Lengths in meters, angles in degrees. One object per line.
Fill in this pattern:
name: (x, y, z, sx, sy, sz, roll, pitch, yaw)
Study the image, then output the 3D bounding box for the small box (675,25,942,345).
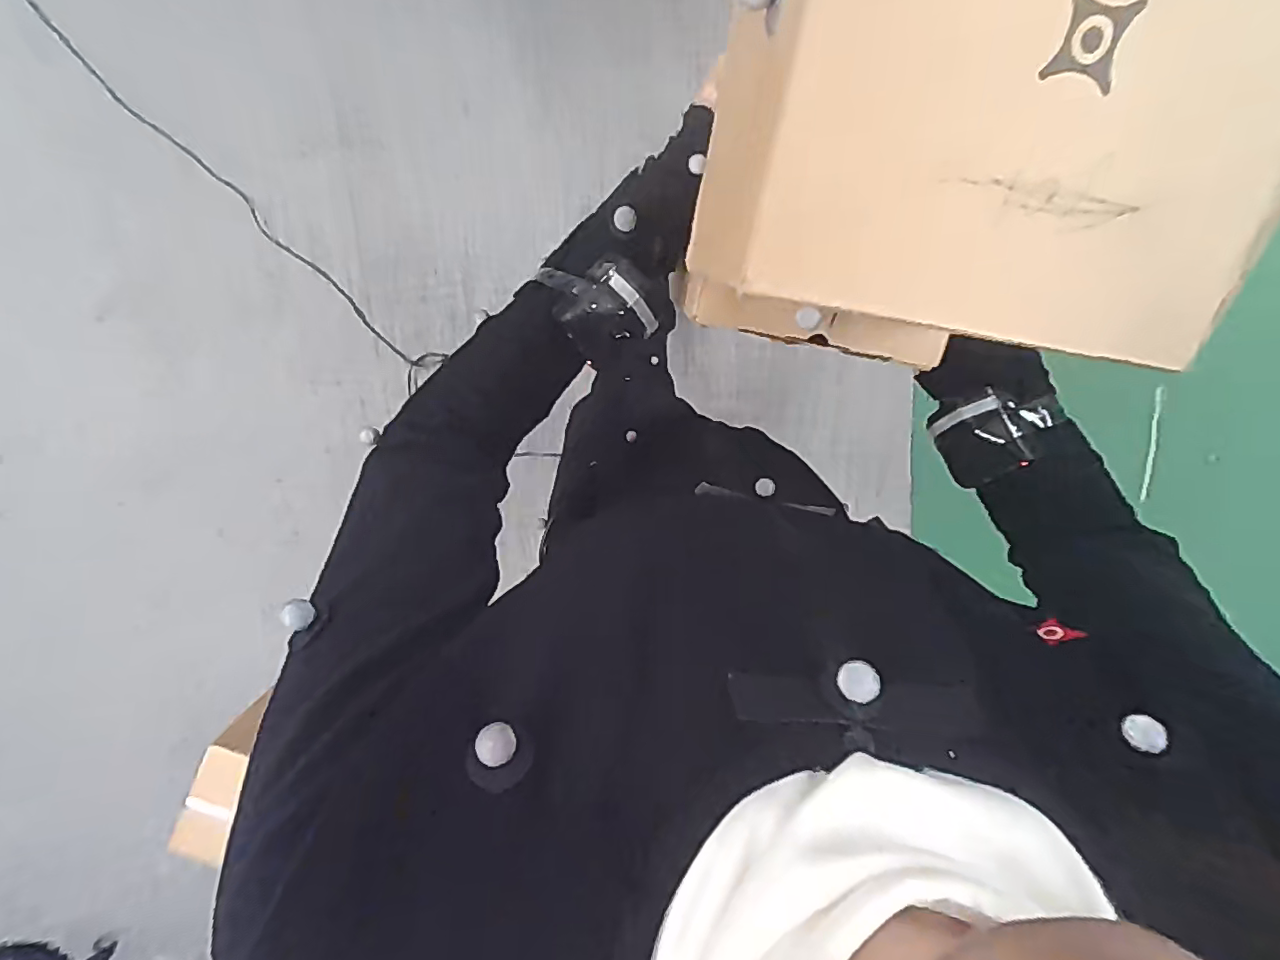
small box: (0.121, -0.211, 0.390, 0.168, 0.176, 0.179, 7, 114, -4)
